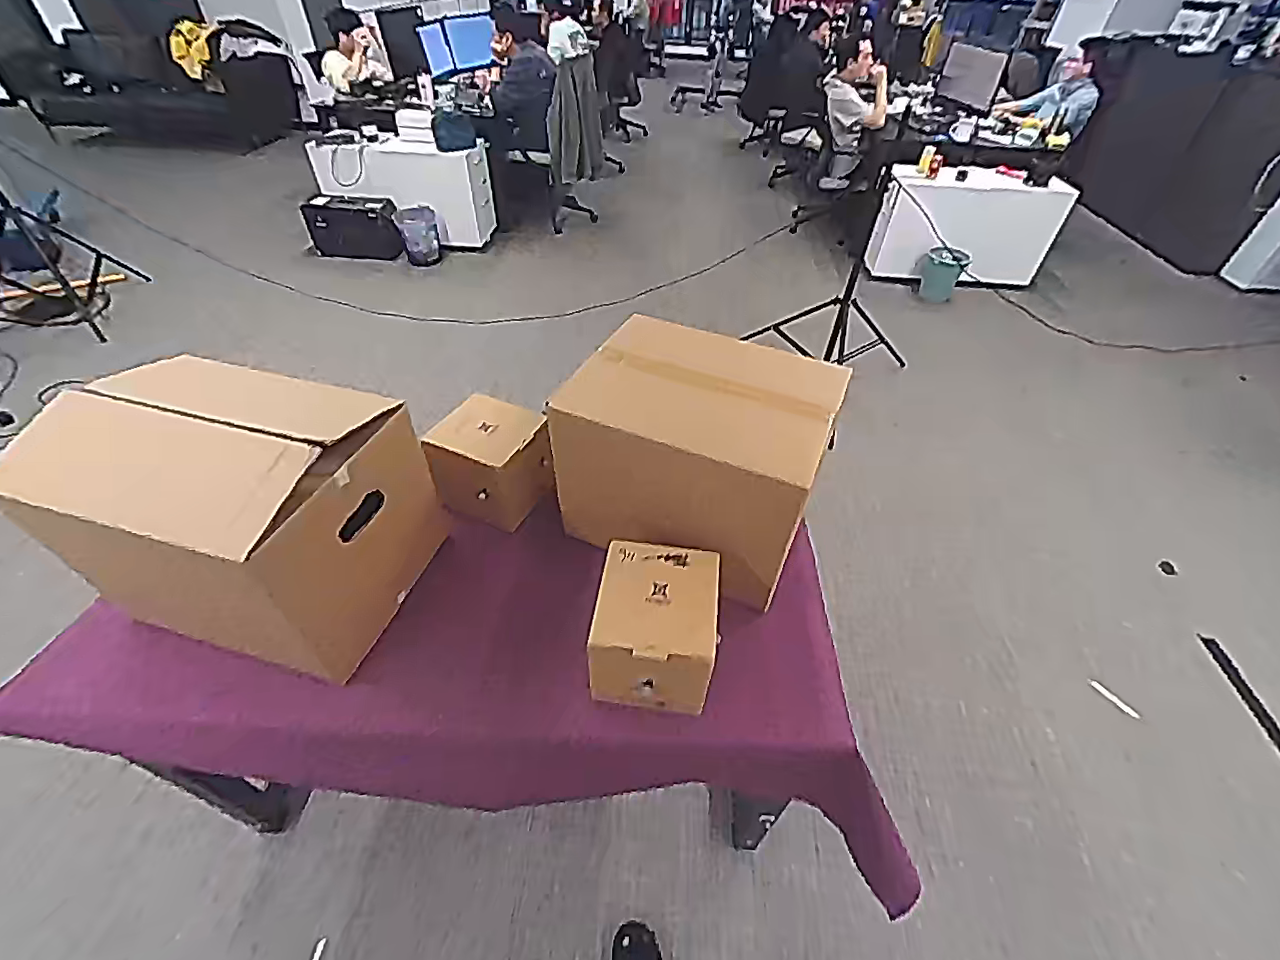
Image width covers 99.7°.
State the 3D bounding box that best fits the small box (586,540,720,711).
[{"bbox_3d":[0.023,0.216,0.794,0.168,0.176,0.179,7,44,5],"label":"small box"}]
